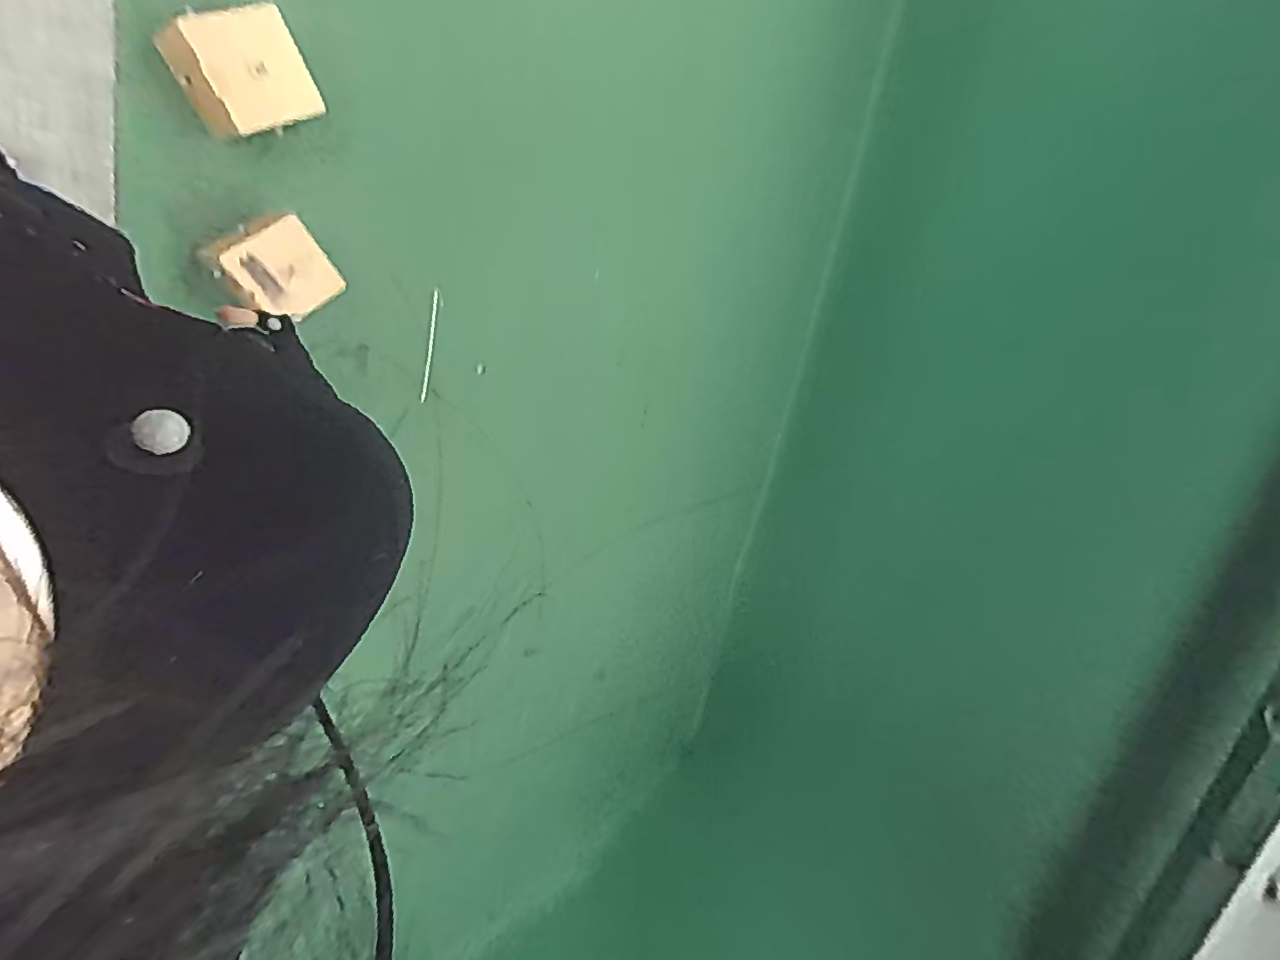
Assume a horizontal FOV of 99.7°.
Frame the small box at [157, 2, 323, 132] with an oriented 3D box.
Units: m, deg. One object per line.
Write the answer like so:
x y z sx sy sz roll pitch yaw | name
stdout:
-0.759 -0.780 1.029 0.179 0.176 0.168 -42 138 -29 | small box
